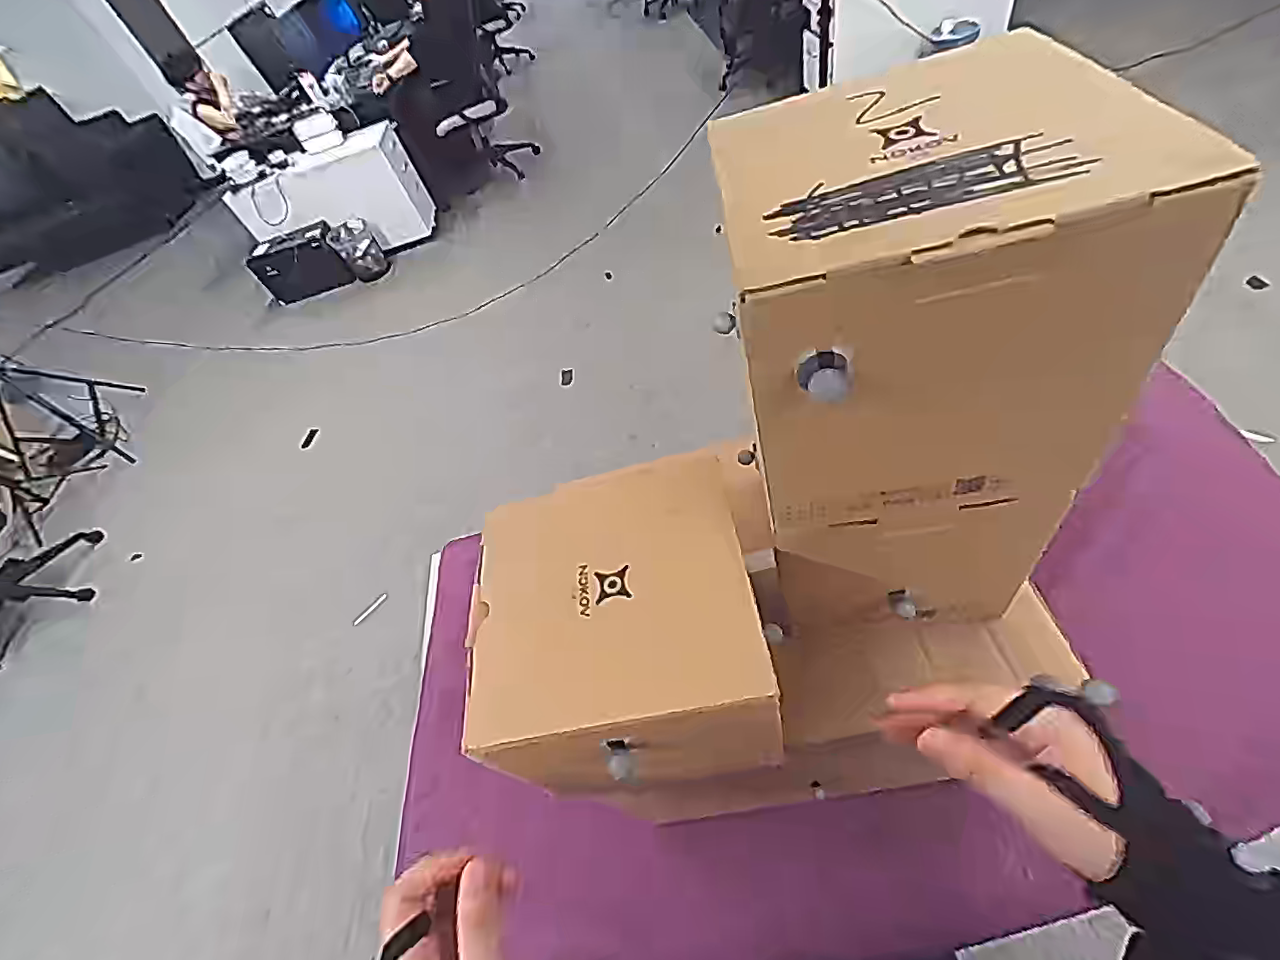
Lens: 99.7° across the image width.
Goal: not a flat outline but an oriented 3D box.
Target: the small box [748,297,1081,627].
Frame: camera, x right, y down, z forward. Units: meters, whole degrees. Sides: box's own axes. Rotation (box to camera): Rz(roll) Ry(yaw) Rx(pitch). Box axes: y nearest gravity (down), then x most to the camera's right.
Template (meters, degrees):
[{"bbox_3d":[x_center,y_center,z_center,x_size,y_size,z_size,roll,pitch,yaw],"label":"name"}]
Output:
[{"bbox_3d":[0.182,-0.007,0.421,0.168,0.176,0.179,-10,50,12],"label":"small box"}]

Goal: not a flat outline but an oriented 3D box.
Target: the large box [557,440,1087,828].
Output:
[{"bbox_3d":[0.153,0.170,0.614,0.408,0.320,0.320,-15,49,7],"label":"large box"}]
